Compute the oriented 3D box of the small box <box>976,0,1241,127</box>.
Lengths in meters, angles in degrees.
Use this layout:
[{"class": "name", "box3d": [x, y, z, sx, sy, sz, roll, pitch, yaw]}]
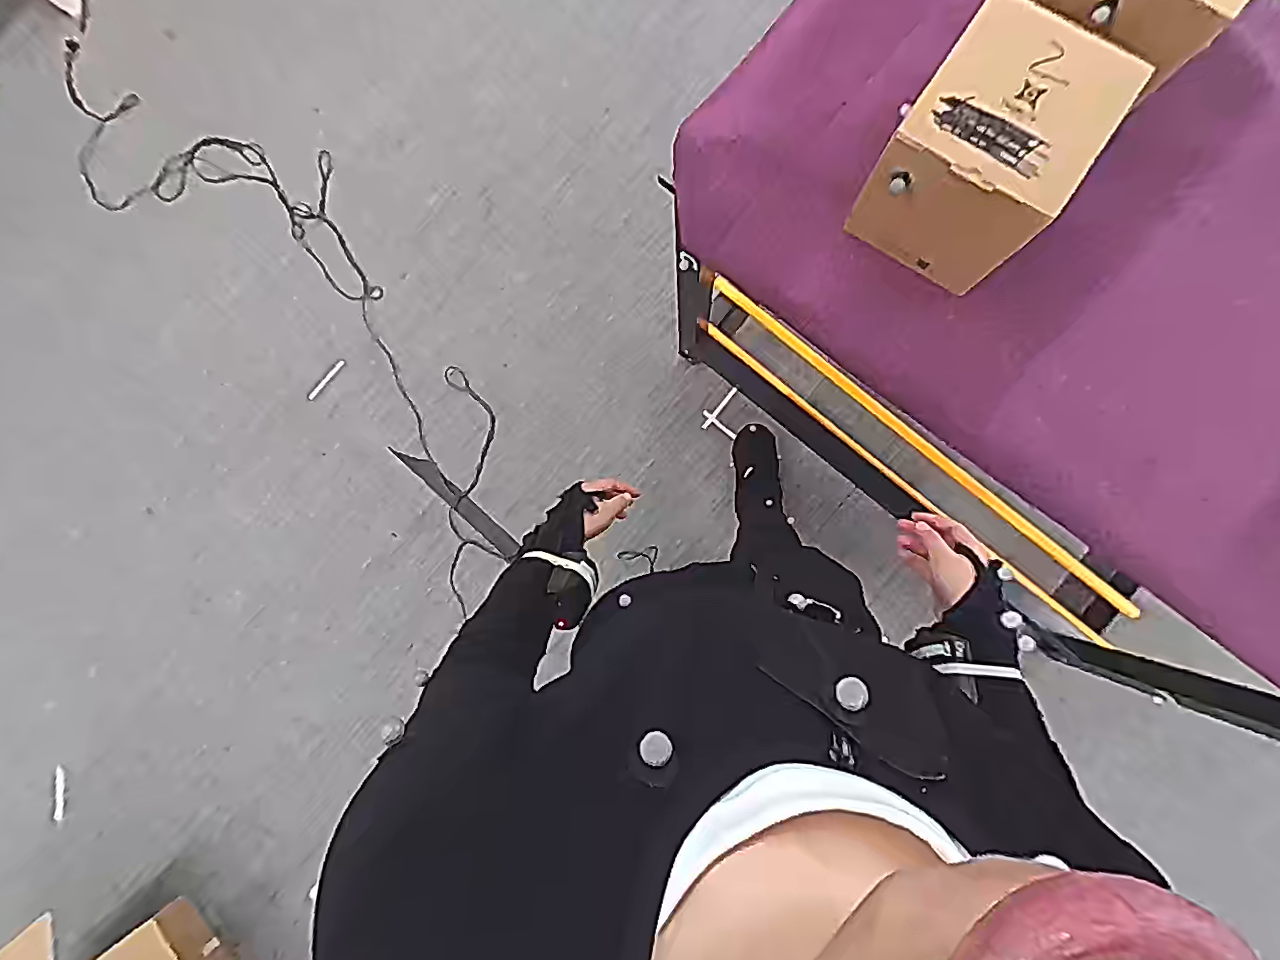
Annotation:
[{"class": "small box", "box3d": [0.520, -0.530, 0.581, 0.179, 0.176, 0.168, 37, 89, 5]}]
